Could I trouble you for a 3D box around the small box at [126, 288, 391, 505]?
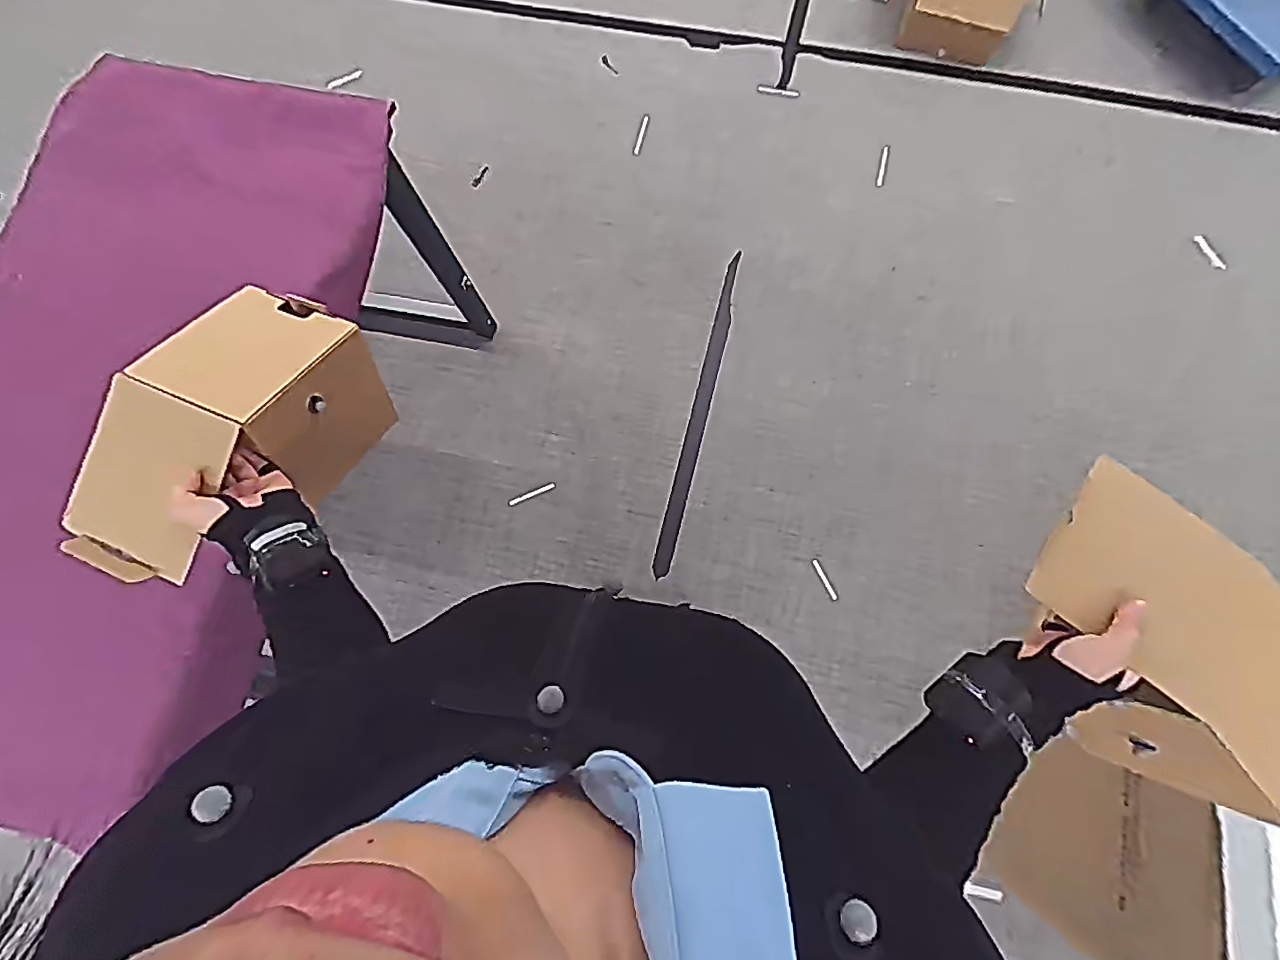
[{"bbox_3d":[-0.441,-0.098,0.666,0.168,0.176,0.179,21,55,10],"label":"small box"}]
